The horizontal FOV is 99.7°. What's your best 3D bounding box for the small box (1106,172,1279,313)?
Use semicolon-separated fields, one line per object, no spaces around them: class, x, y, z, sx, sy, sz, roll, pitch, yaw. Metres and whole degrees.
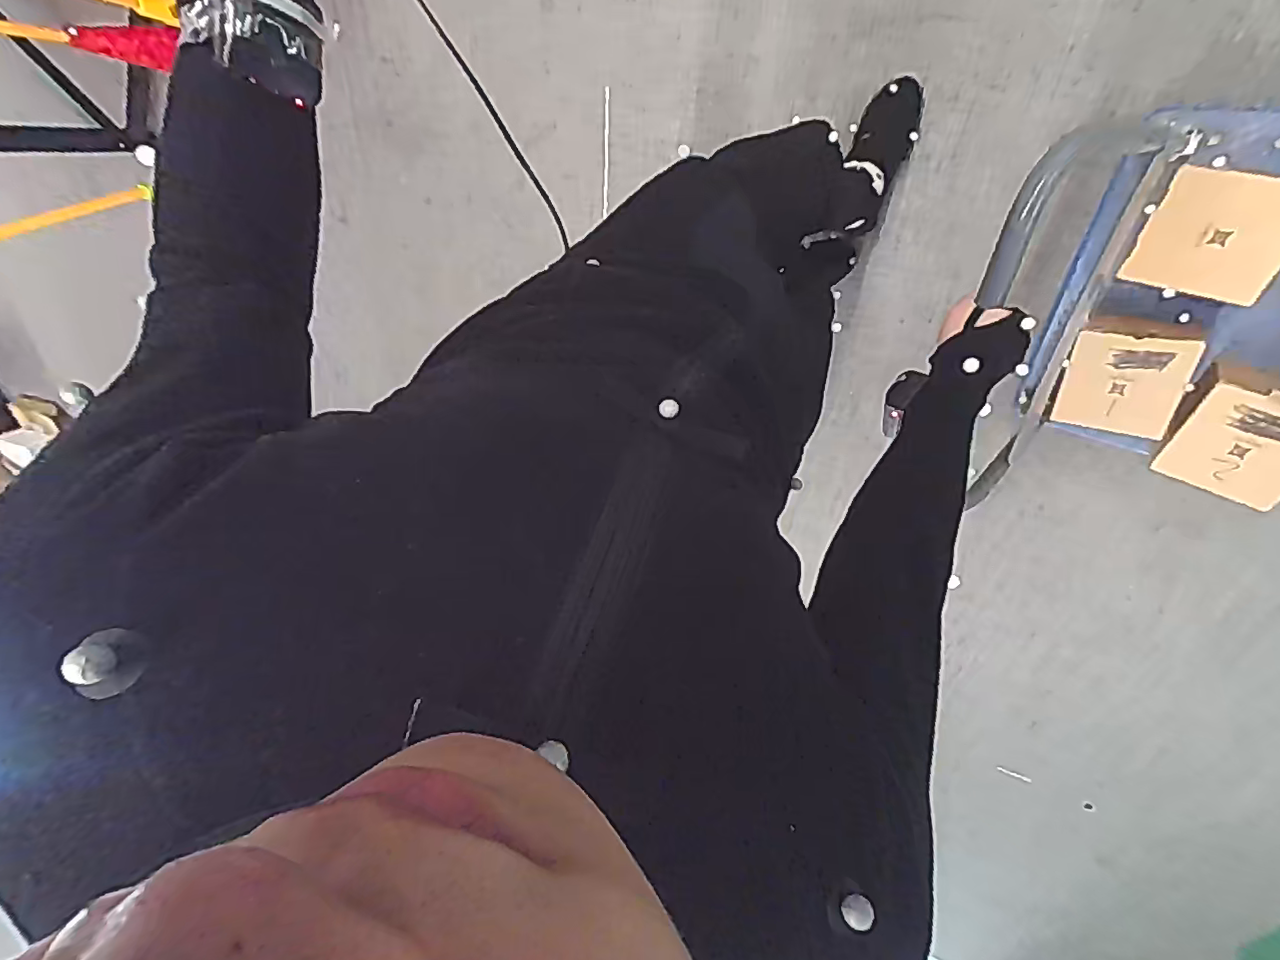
small box;0.906;-0.389;0.869;0.179;0.176;0.168;31;132;30
